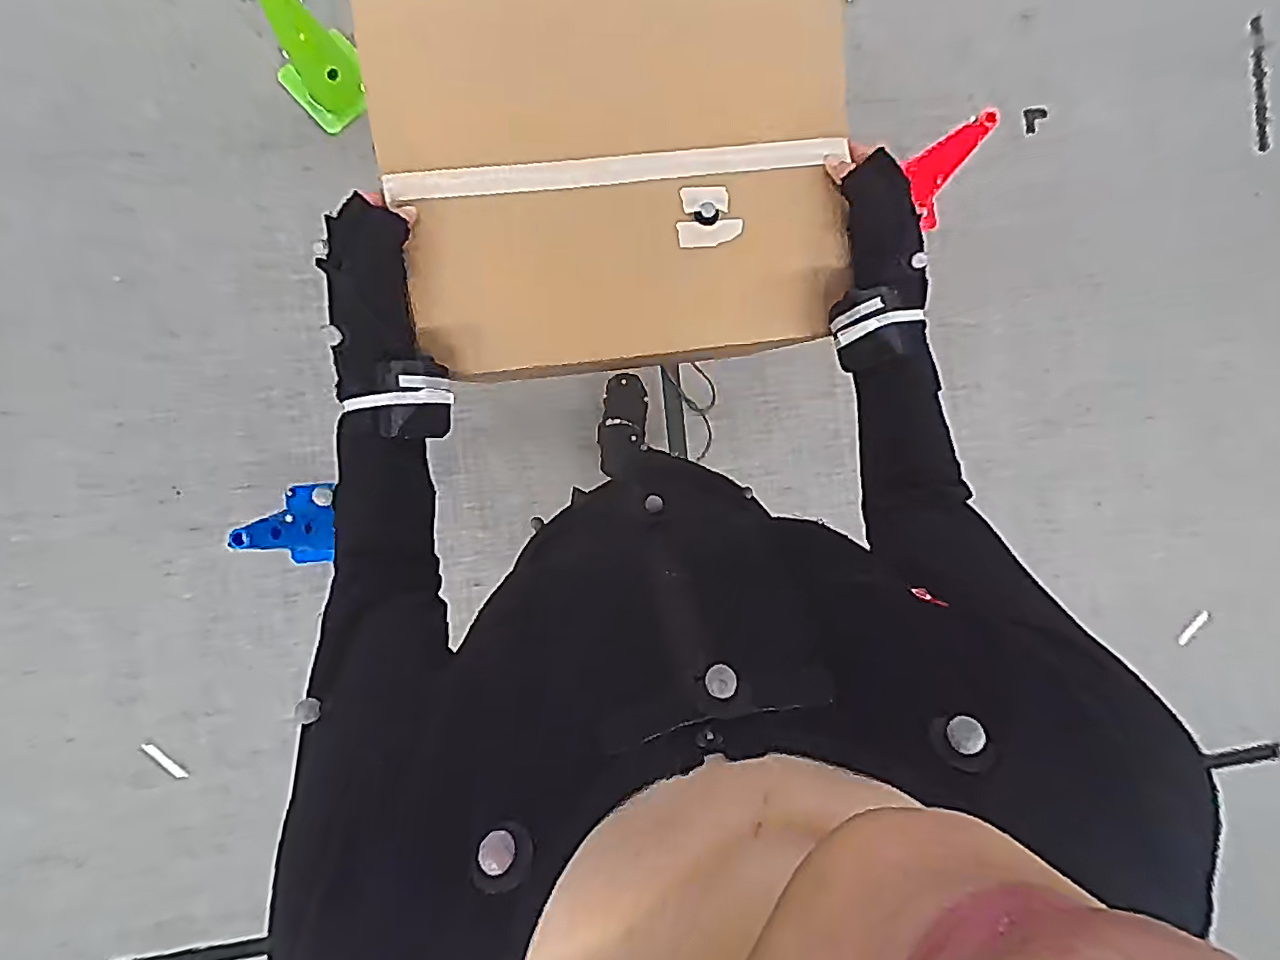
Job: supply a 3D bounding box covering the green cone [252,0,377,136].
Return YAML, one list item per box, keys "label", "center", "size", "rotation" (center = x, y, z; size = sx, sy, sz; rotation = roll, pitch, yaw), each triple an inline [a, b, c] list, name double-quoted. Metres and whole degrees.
- label: "green cone"
  center: [-0.774, -1.009, 1.213]
  size: [0.202, 0.368, 0.200]
  rotation: [-44, 93, -1]

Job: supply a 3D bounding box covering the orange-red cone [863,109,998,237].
- label: "orange-red cone"
  center: [0.741, -0.786, 1.343]
  size: [0.198, 0.360, 0.199]
  rotation: [-9, 90, -5]

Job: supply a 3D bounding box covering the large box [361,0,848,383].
- label: "large box"
  center: [-0.032, -0.295, 0.623]
  size: [0.408, 0.320, 0.320]
  rotation: [-8, 100, -6]
